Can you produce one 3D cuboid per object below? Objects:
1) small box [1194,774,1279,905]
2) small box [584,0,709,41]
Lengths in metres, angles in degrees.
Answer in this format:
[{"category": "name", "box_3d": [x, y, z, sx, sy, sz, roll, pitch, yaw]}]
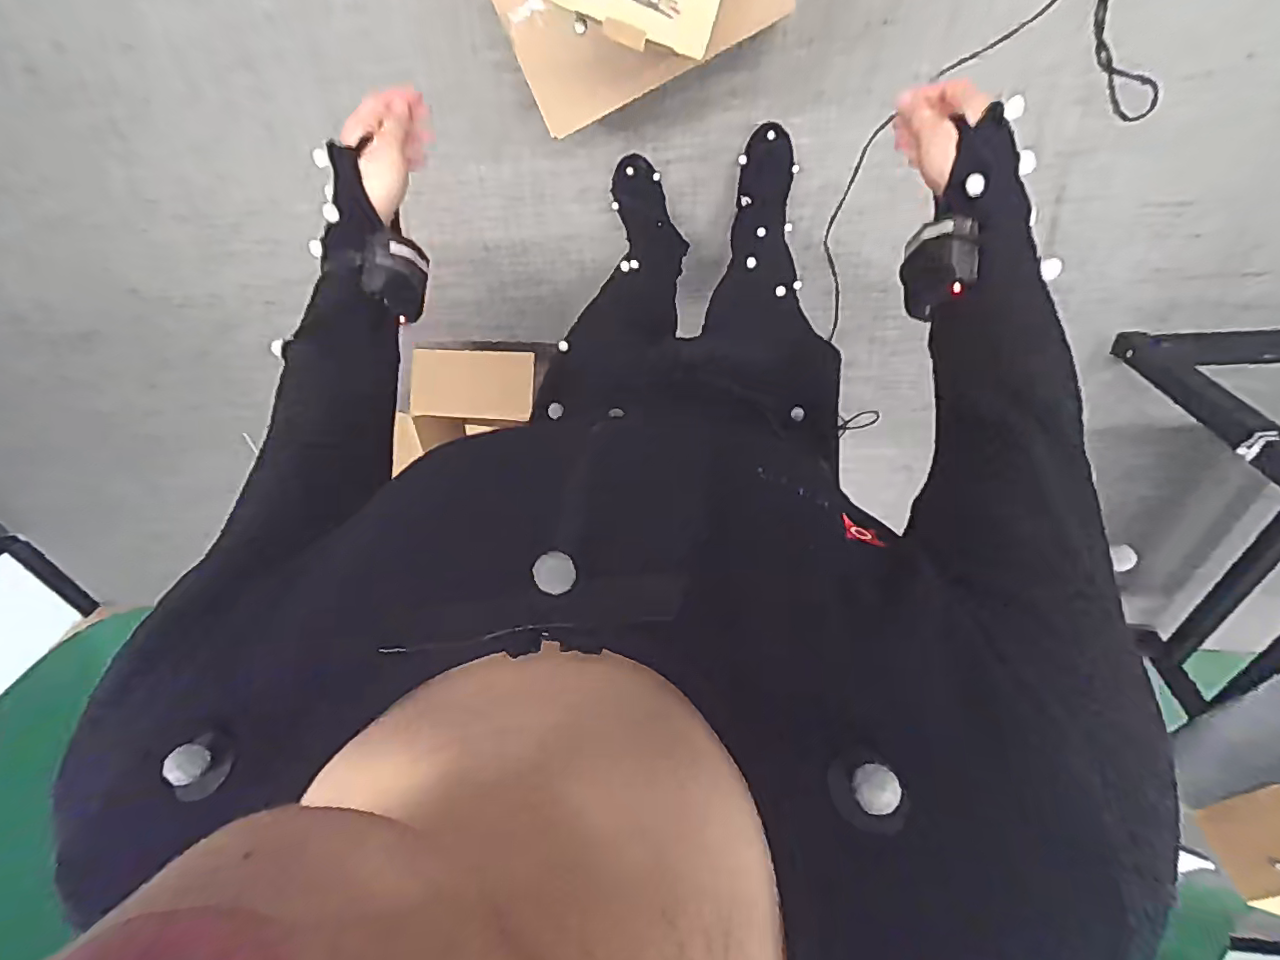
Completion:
[{"category": "small box", "box_3d": [1.278, 0.720, 1.076, 0.168, 0.176, 0.179, 22, 128, -11]}, {"category": "small box", "box_3d": [0.024, -0.680, 0.664, 0.168, 0.176, 0.179, 17, 132, -6]}]
